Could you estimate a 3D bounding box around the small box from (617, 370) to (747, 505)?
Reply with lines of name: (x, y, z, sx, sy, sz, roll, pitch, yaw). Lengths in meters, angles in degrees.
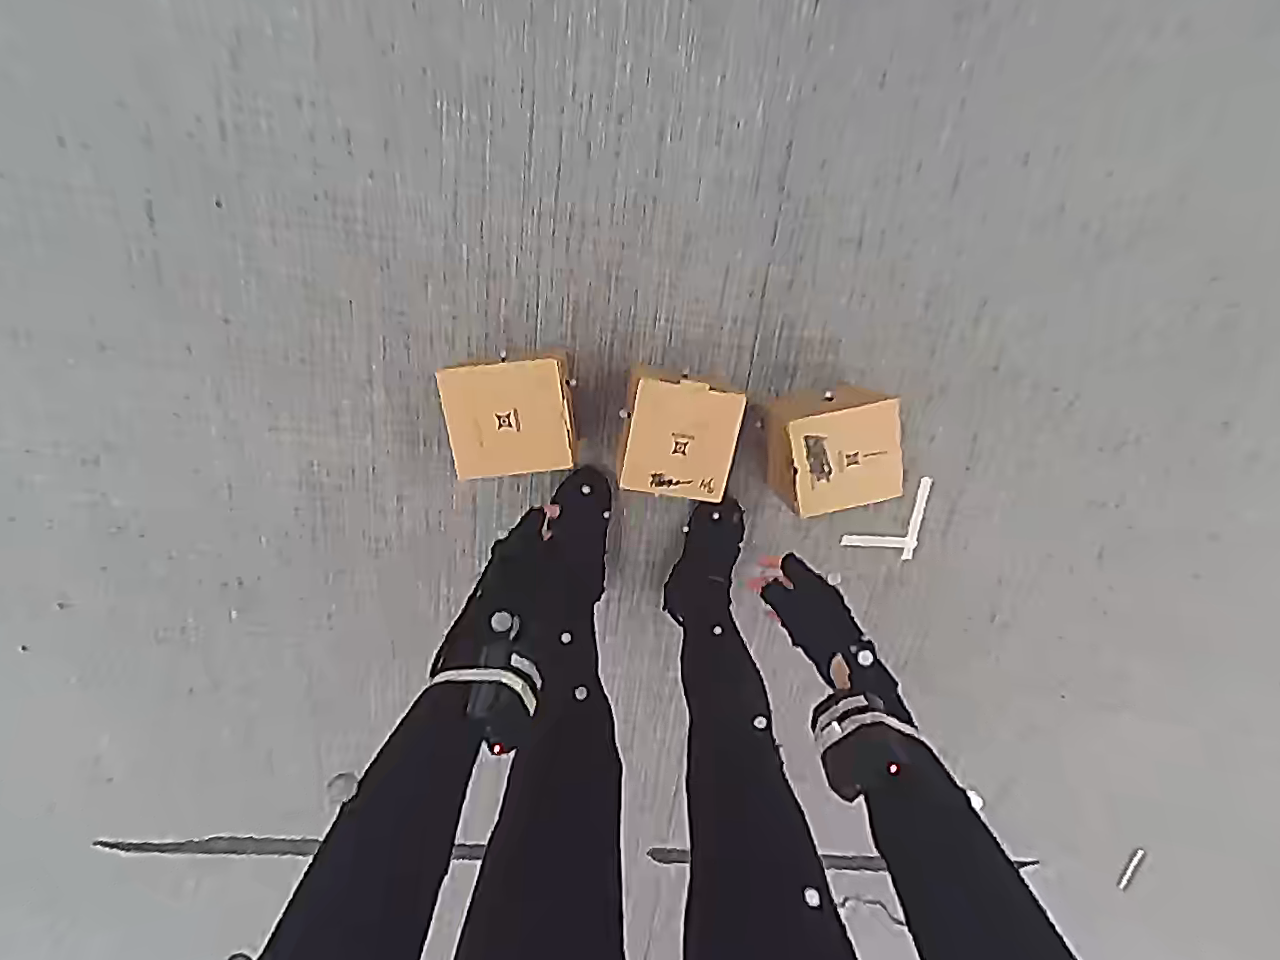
small box: (0.057, -0.078, 0.890, 0.168, 0.176, 0.179, 9, 107, -8)

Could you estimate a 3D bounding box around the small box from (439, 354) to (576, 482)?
small box: (-0.197, -0.106, 0.862, 0.179, 0.176, 0.168, -6, 107, -1)

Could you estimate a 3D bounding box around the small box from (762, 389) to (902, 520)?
small box: (0.315, -0.051, 0.918, 0.179, 0.176, 0.168, -12, 109, -1)
